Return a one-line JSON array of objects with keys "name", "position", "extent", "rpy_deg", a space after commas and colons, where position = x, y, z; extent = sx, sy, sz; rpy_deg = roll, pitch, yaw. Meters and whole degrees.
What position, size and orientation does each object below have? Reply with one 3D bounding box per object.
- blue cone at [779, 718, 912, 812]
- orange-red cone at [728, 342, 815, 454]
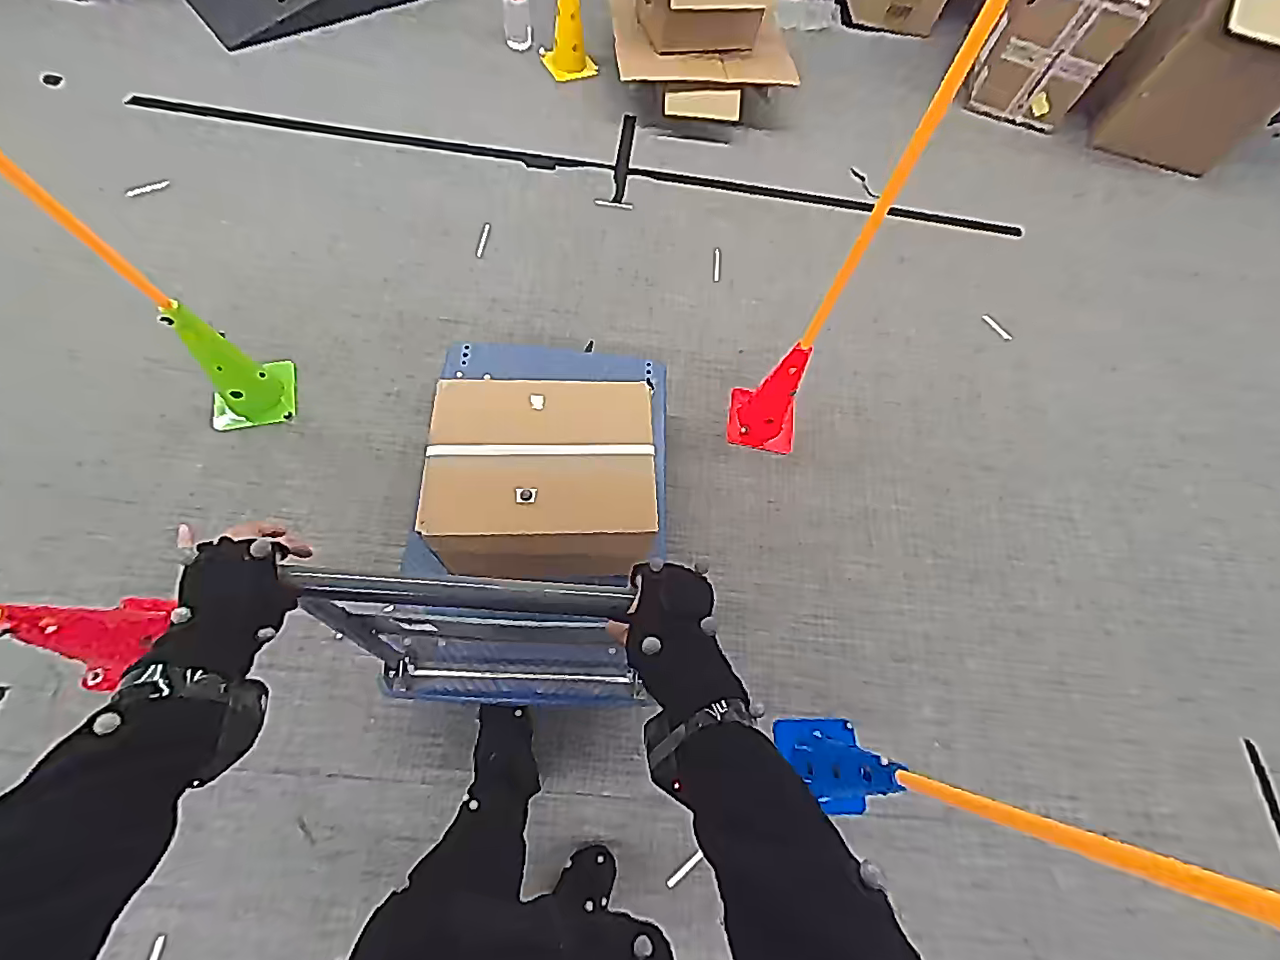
[{"name": "blue cone", "position": [0.439, 0.584, 1.103], "extent": [0.193, 0.380, 0.192], "rpy_deg": [3, 64, -6]}, {"name": "orange-red cone", "position": [0.390, -0.250, 1.467], "extent": [0.199, 0.360, 0.198], "rpy_deg": [13, 65, -2]}]
